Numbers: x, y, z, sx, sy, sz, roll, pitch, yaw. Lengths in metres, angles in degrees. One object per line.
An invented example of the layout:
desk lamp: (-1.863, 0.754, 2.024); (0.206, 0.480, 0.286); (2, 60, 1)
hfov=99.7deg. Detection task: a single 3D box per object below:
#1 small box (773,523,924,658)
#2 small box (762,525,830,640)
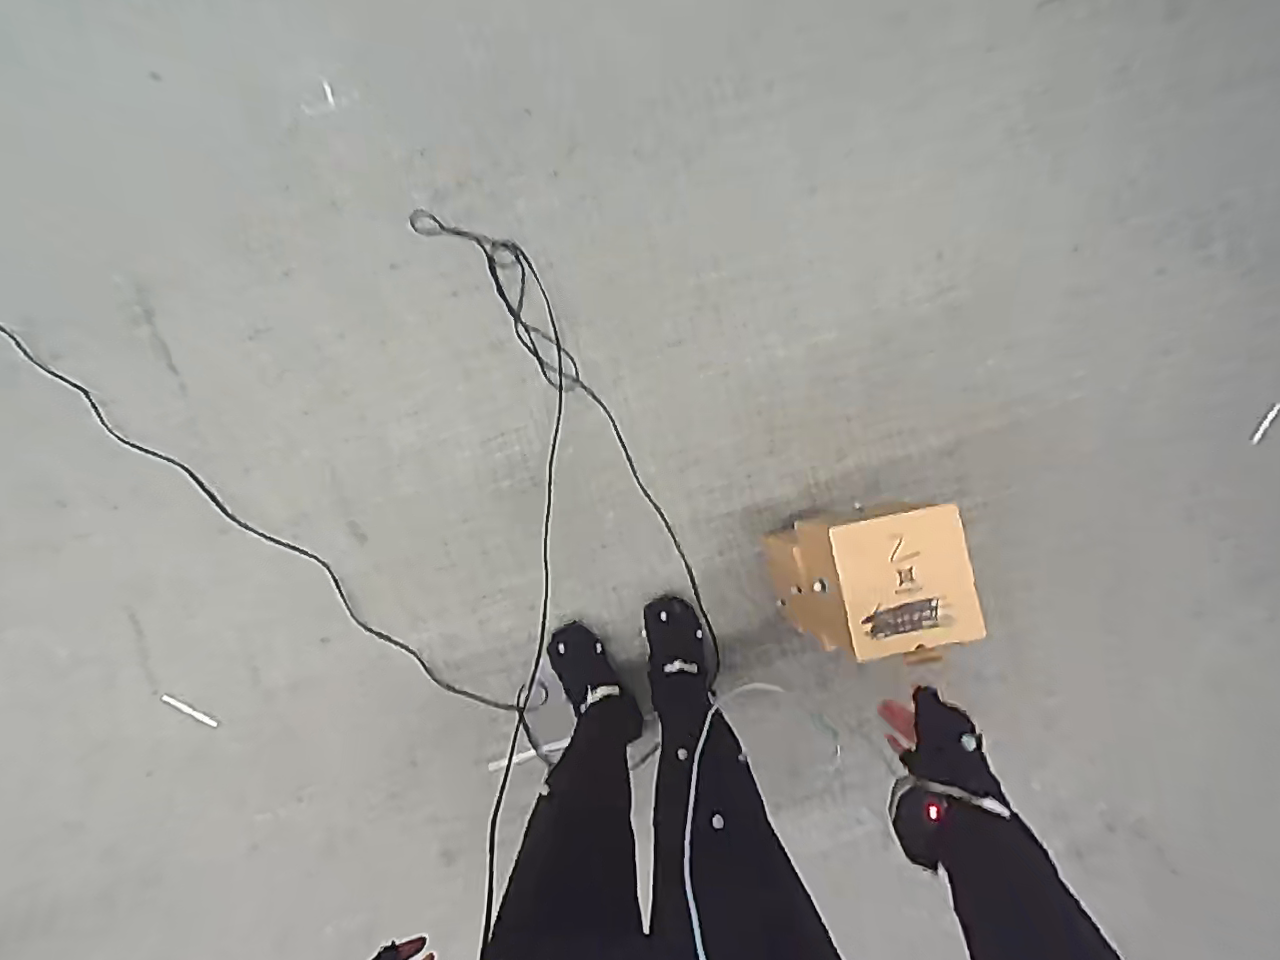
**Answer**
small box: (0.342, 0.177, 0.924); (0.168, 0.176, 0.179); (-18, 88, 1)
small box: (0.357, 0.198, 1.087); (0.168, 0.176, 0.179); (-15, 88, 1)
